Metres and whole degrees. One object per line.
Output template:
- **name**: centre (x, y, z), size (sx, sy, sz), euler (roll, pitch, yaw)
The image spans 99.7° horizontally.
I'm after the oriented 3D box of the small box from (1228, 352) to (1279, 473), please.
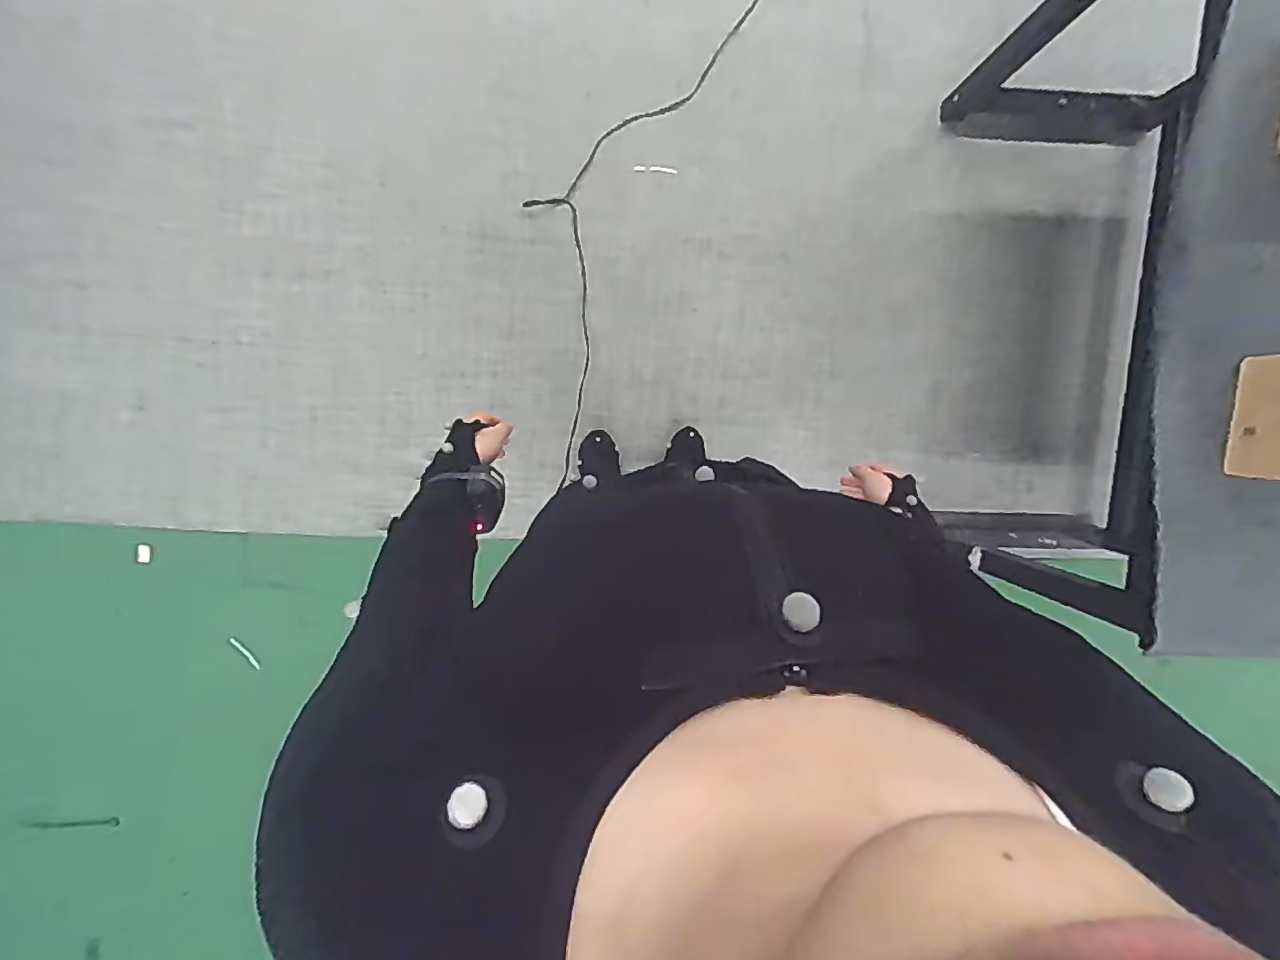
- **small box**: centre (0.937, -0.085, 0.700), size (0.179, 0.176, 0.168), euler (2, 96, -4)
